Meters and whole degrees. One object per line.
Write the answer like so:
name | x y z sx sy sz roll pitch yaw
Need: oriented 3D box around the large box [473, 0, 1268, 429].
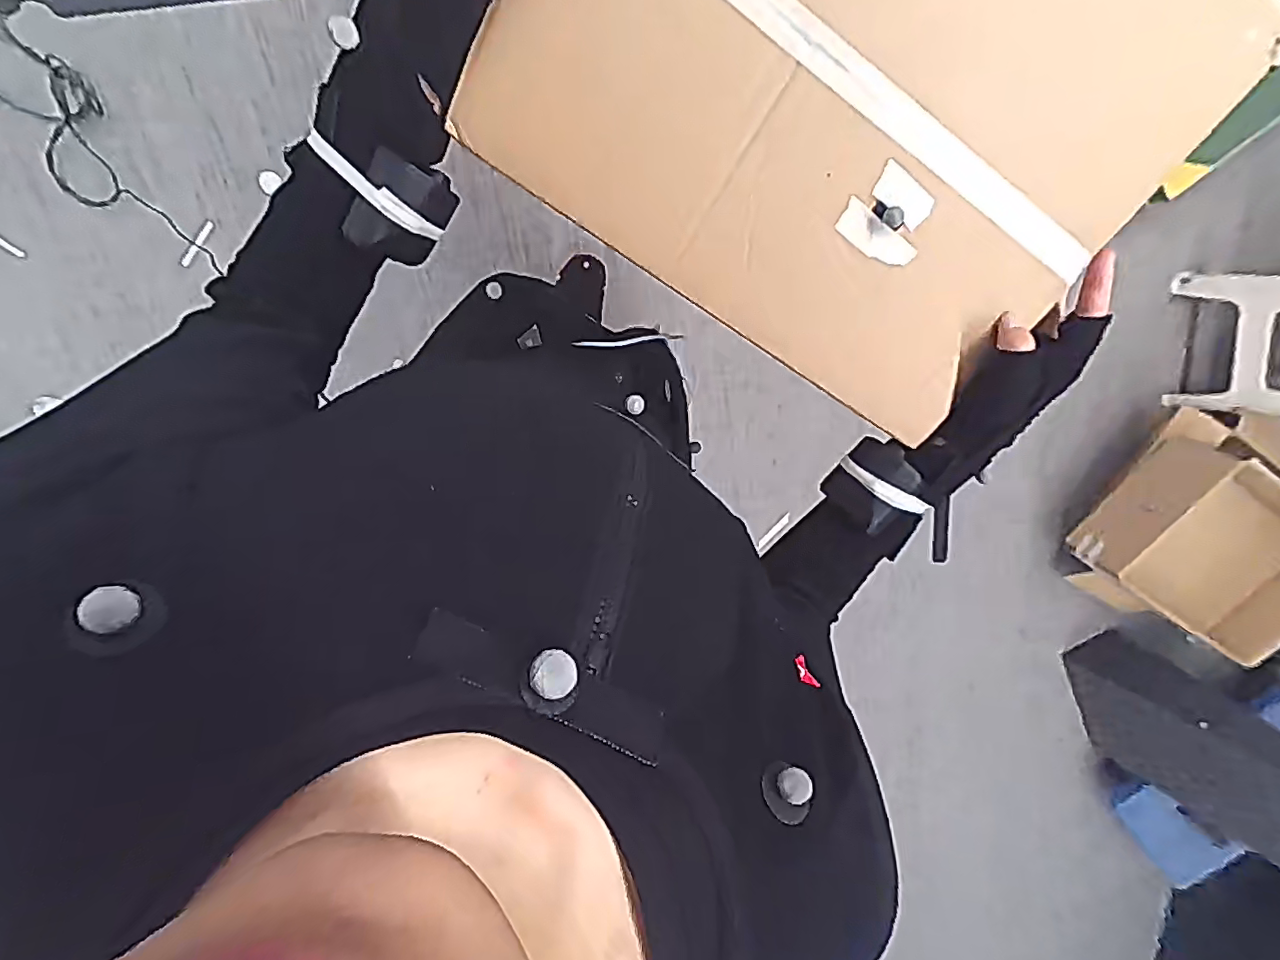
large box | 0.134 -0.313 0.471 0.408 0.320 0.320 30 114 -14
